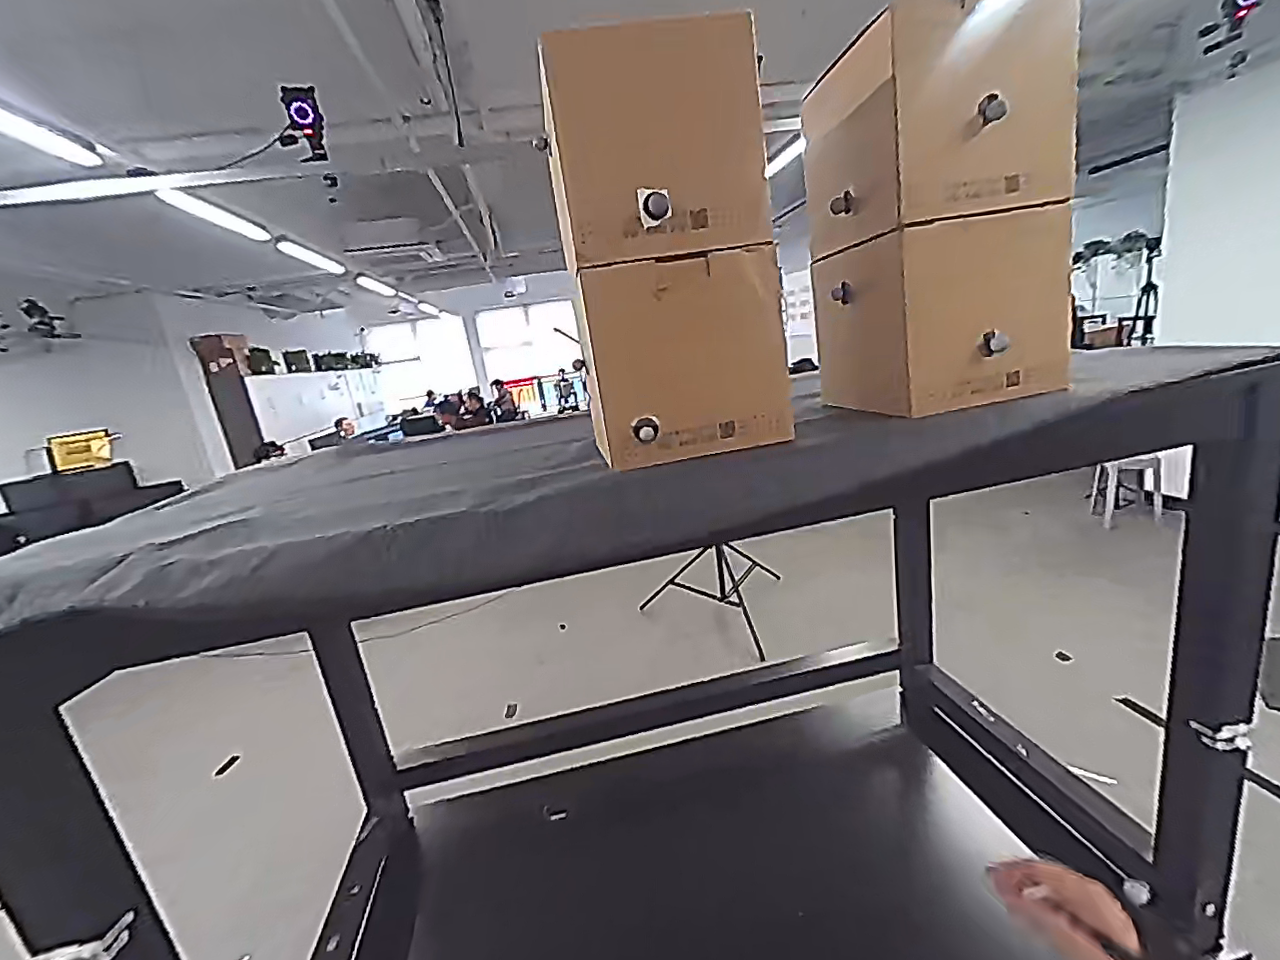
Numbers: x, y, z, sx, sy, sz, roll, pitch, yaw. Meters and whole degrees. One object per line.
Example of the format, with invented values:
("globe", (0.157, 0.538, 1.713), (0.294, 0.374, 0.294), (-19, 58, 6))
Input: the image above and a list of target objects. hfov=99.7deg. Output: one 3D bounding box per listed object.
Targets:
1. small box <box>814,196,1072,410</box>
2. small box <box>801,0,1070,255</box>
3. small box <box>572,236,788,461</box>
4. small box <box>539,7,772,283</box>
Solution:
("small box", (0.300, -0.170, 0.563), (0.168, 0.176, 0.179), (-12, 13, -6))
("small box", (0.275, -0.328, 0.526), (0.168, 0.176, 0.179), (-10, 14, -5))
("small box", (0.032, -0.119, 0.528), (0.168, 0.176, 0.179), (-11, 12, -7))
("small box", (0.008, -0.276, 0.494), (0.168, 0.176, 0.179), (-11, 13, -6))
